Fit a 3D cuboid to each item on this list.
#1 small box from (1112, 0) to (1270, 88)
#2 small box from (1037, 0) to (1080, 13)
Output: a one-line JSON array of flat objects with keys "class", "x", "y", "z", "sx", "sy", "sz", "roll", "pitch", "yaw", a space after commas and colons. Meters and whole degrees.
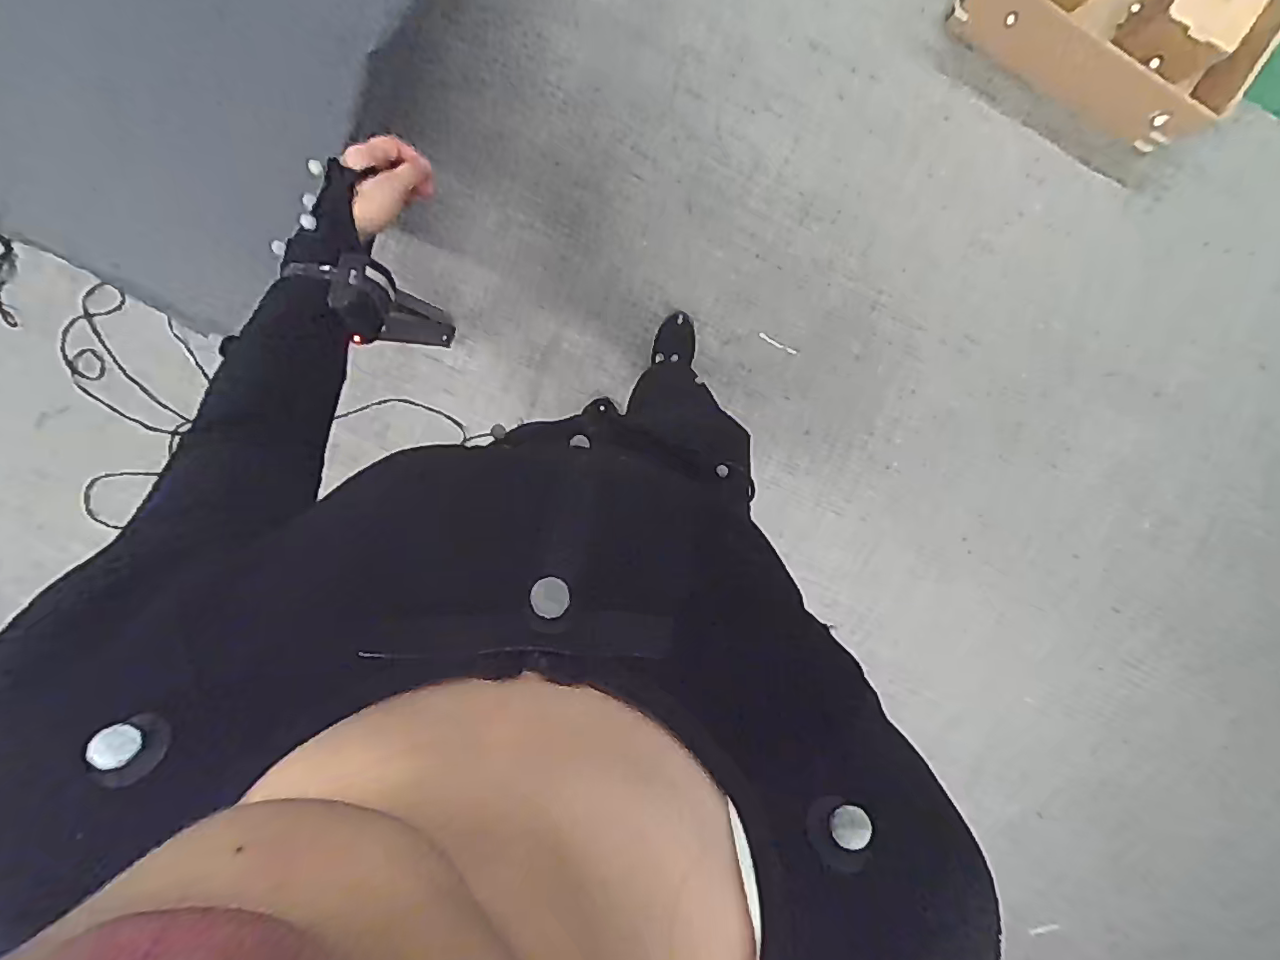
[{"class": "small box", "x": 1.174, "y": -0.994, "z": 1.153, "sx": 0.168, "sy": 0.176, "sz": 0.179, "roll": 29, "pitch": 101, "yaw": -6}, {"class": "small box", "x": 0.916, "y": -1.133, "z": 1.118, "sx": 0.179, "sy": 0.176, "sz": 0.168, "roll": 27, "pitch": 102, "yaw": -7}]
